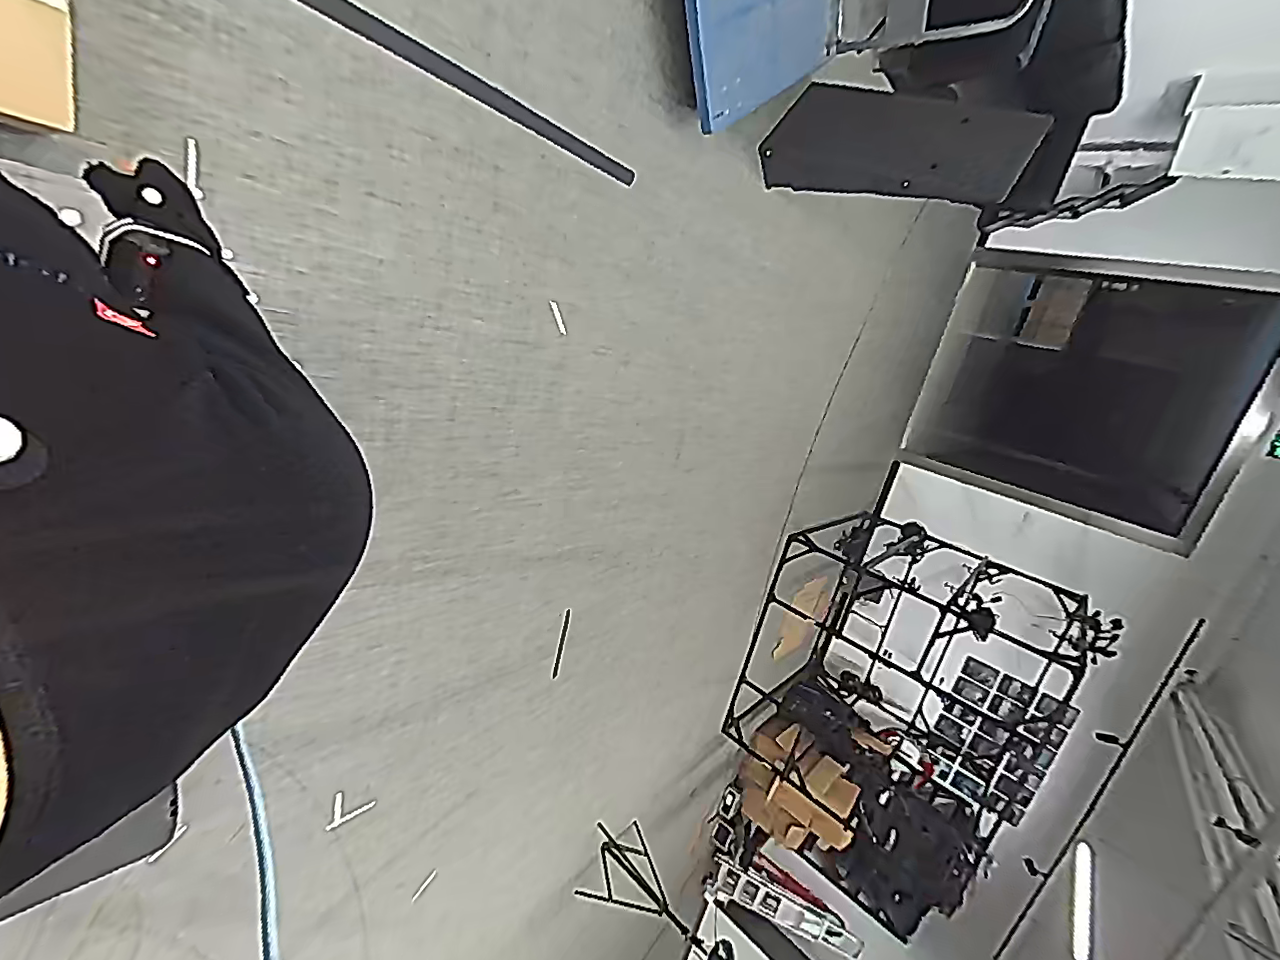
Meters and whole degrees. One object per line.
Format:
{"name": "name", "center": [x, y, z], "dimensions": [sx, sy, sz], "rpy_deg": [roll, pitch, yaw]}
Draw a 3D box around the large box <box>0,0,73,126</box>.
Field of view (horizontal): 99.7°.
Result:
{"name": "large box", "center": [-1.004, -0.676, 0.647], "dimensions": [0.408, 0.320, 0.320], "rpy_deg": [-8, 117, -52]}
